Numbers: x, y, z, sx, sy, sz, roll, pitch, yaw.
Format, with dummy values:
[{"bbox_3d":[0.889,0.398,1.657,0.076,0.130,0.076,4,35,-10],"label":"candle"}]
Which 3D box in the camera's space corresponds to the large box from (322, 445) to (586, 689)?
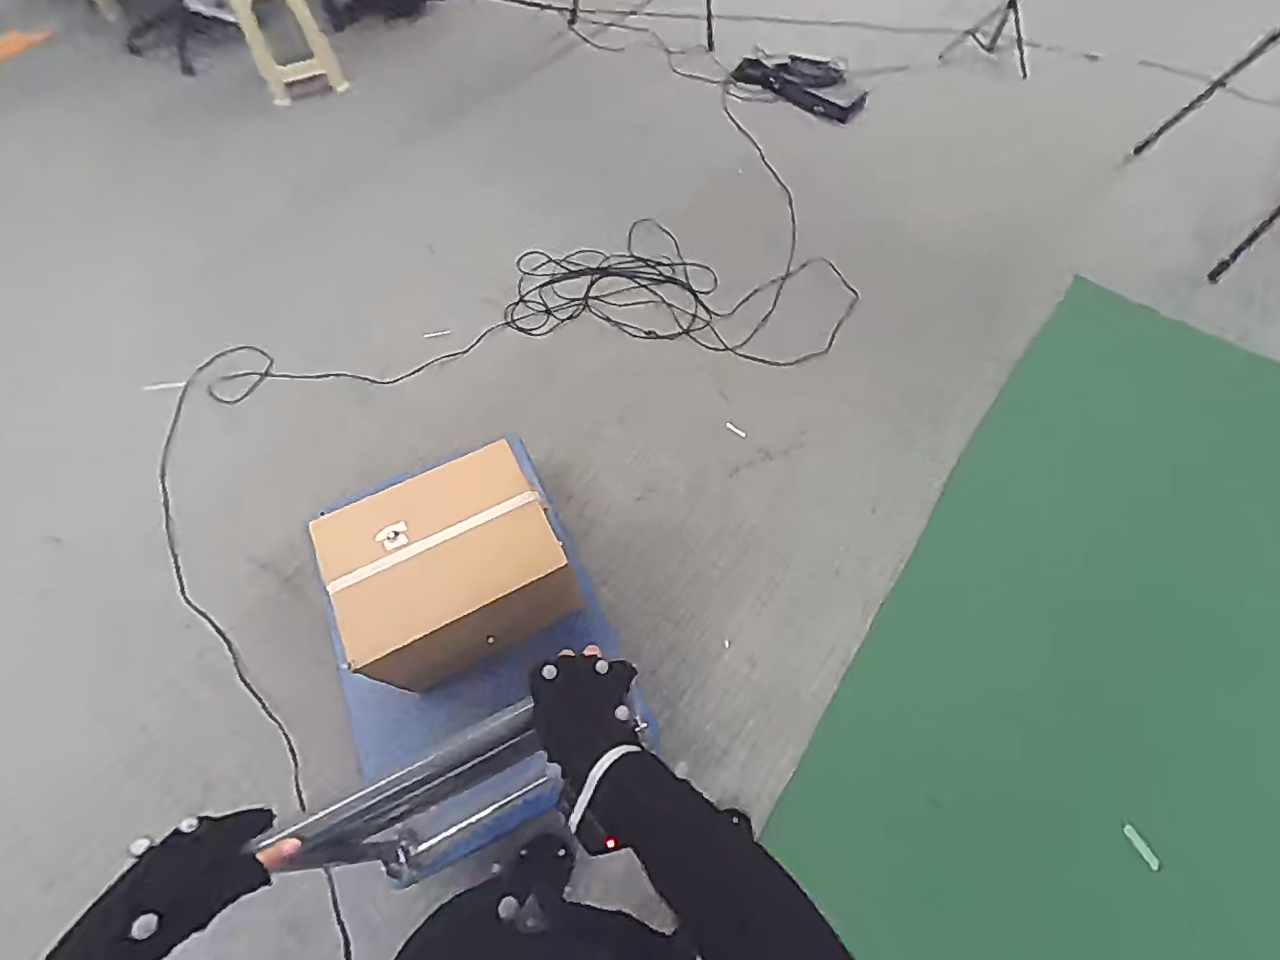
[{"bbox_3d":[-0.371,0.195,1.163,0.408,0.320,0.320,-26,64,-12],"label":"large box"}]
